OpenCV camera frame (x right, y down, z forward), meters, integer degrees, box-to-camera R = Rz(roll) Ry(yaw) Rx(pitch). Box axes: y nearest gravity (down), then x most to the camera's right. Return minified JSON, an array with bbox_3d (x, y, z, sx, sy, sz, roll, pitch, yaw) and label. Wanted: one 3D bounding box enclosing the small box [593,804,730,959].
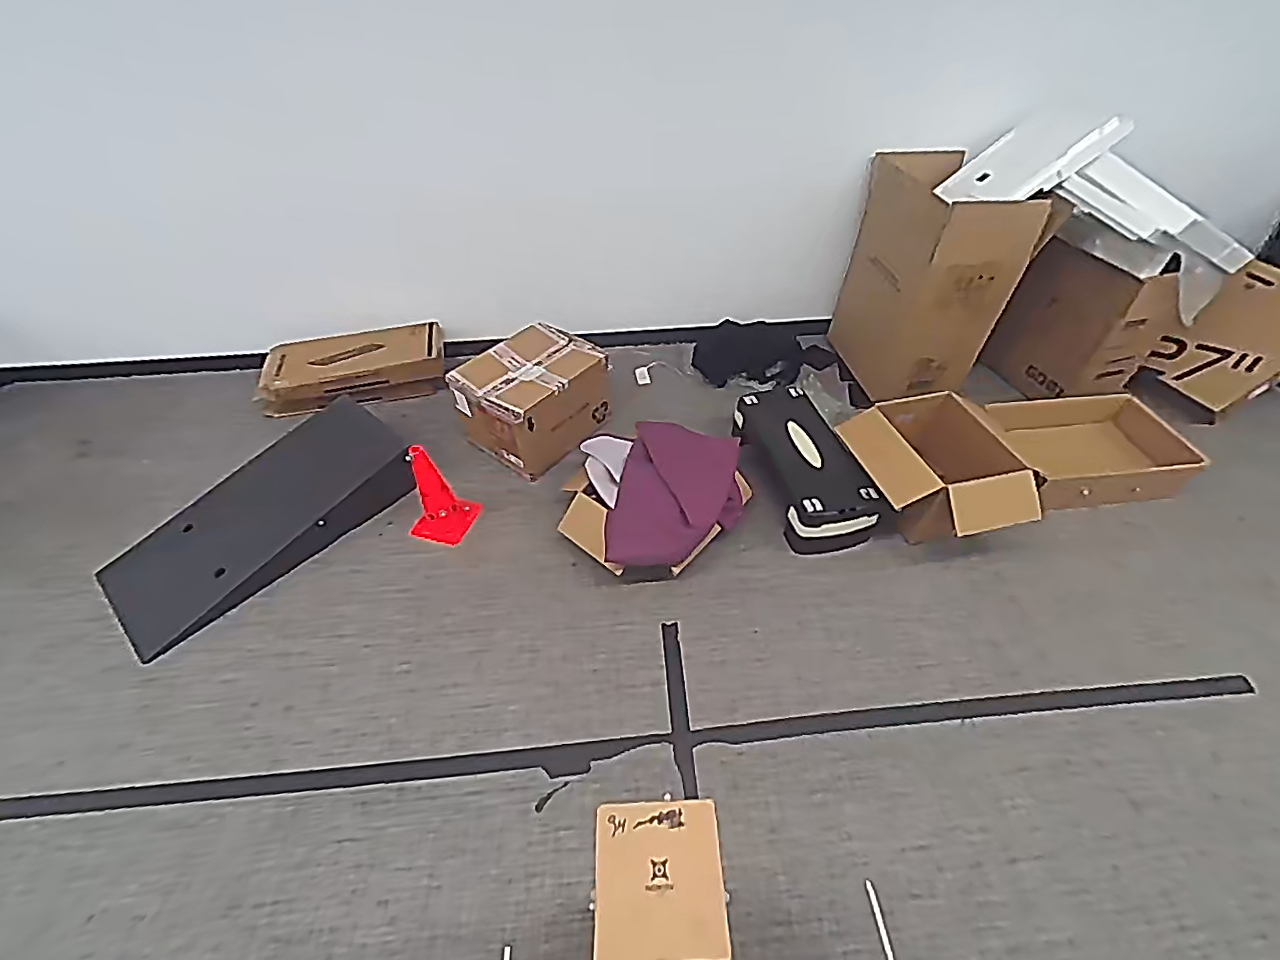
[{"bbox_3d":[0.027,0.565,0.742,0.168,0.176,0.179,-2,47,0],"label":"small box"}]
